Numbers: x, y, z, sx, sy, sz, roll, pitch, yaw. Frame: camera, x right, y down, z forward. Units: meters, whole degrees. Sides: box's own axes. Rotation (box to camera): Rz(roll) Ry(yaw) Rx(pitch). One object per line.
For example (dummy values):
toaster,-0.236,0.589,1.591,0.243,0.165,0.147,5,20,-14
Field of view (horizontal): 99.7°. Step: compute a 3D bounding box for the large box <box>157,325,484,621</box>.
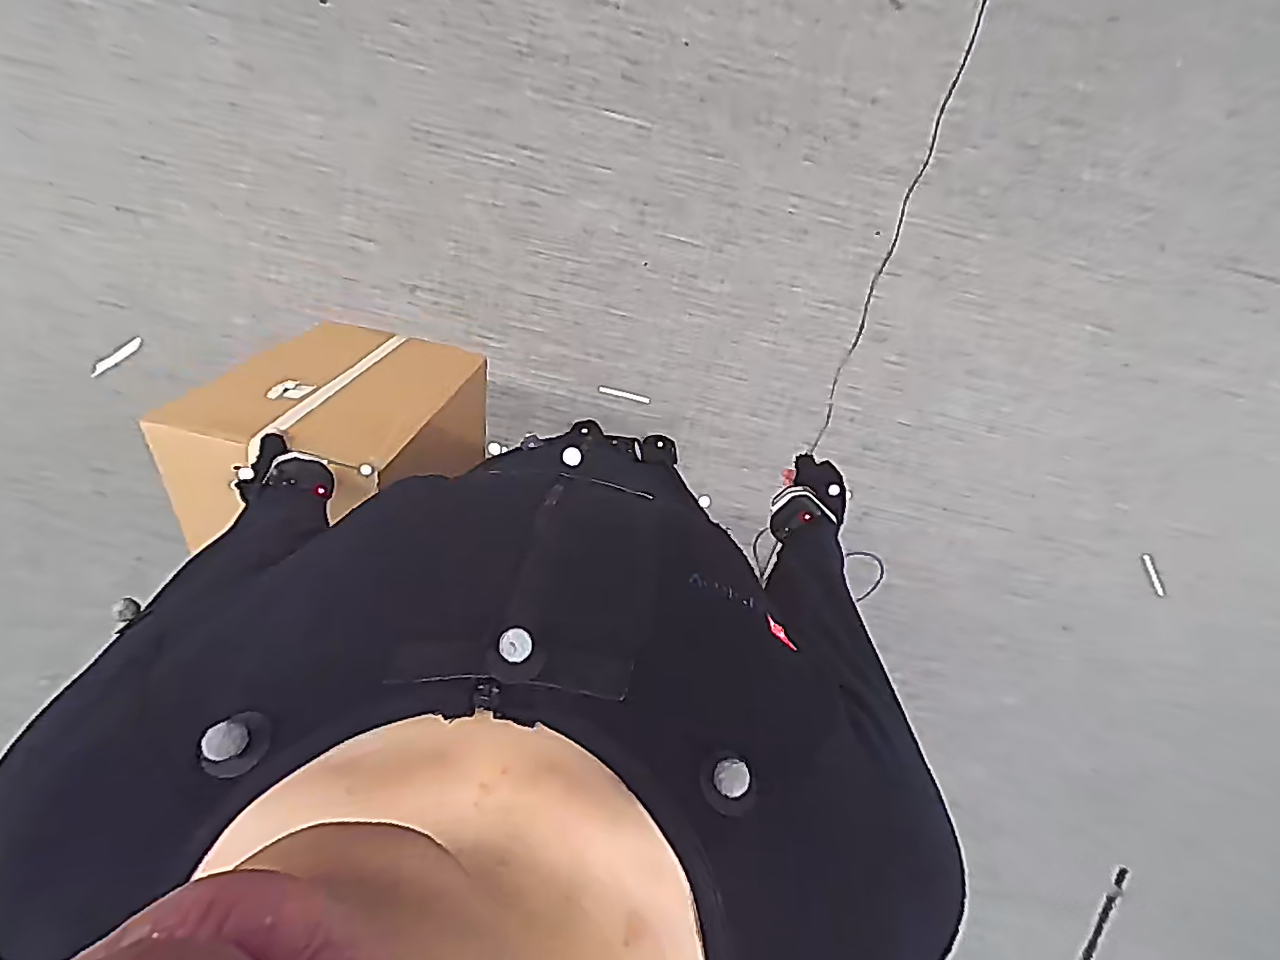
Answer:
large box,-0.493,-0.029,0.956,0.320,0.408,0.320,12,126,1
